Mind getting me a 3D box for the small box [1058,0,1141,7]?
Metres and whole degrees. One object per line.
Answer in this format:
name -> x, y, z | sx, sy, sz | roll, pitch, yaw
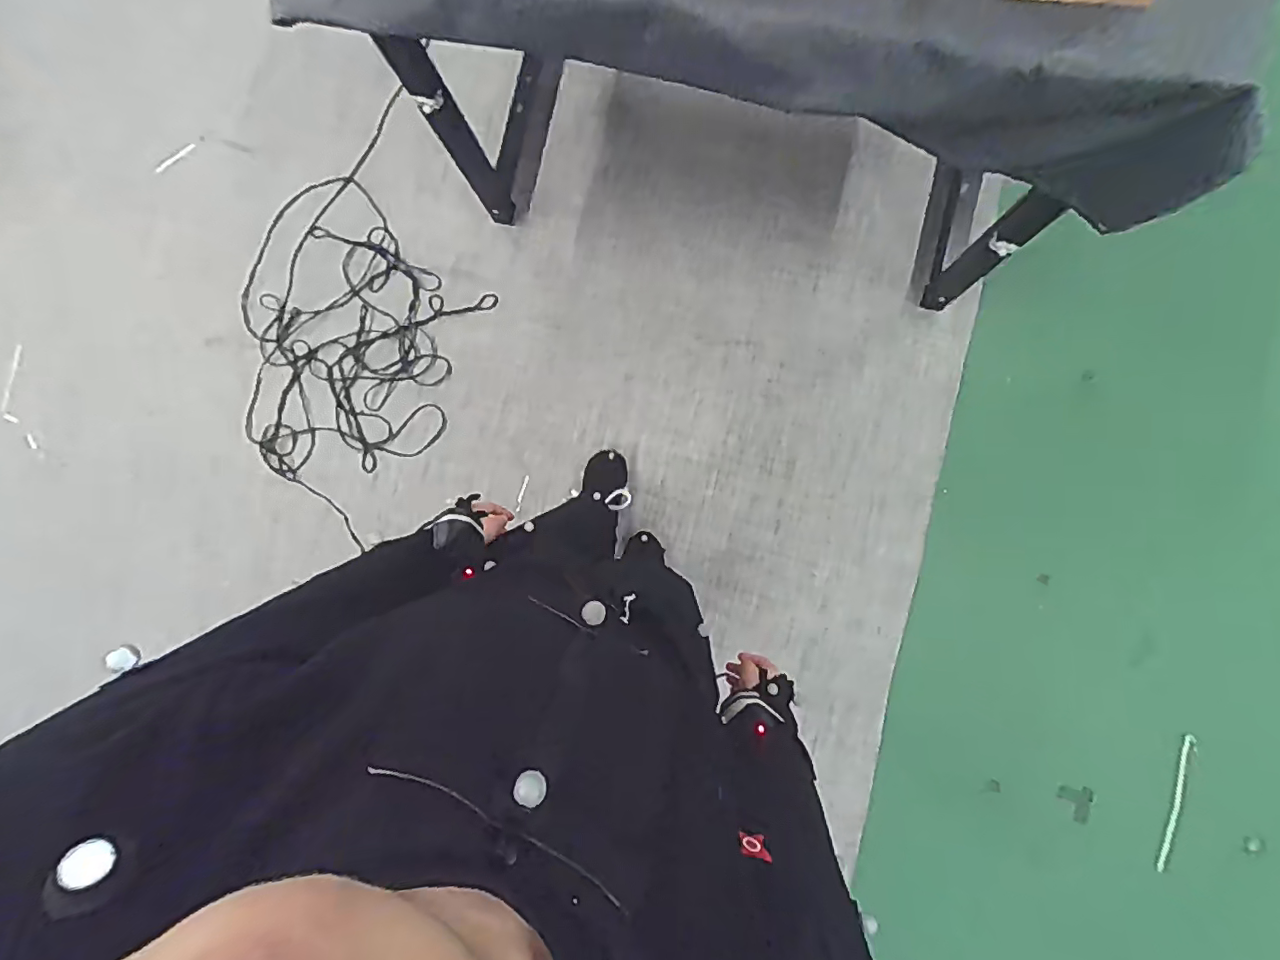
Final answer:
small box -> 0.509, -0.650, 0.556 | 0.168, 0.176, 0.179 | 8, 87, 5
